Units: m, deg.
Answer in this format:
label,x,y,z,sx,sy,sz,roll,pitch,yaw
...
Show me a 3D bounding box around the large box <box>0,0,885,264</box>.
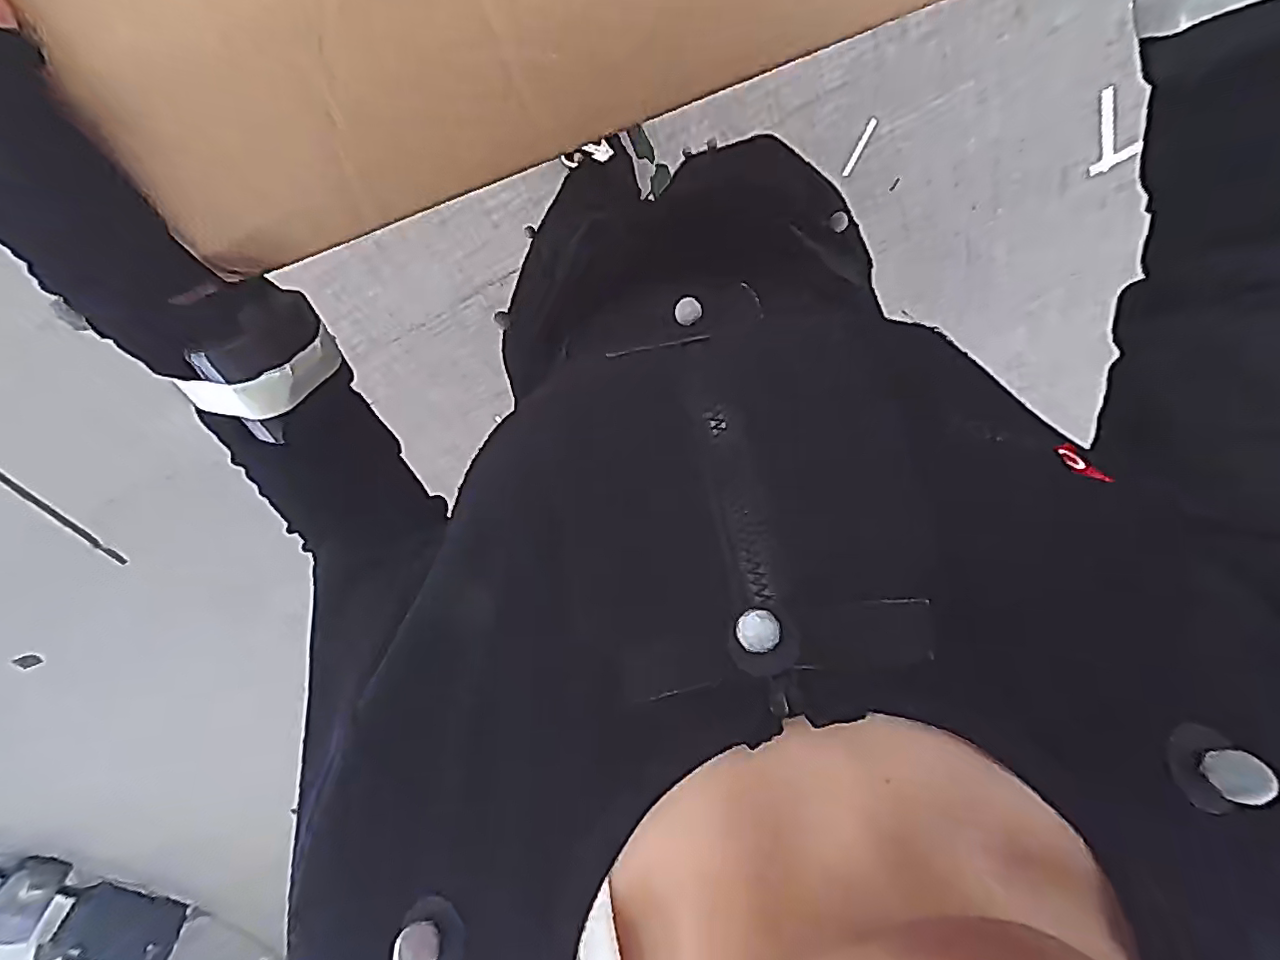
label,x,y,z,sx,sy,sz,roll,pitch,yaw
large box,-0.069,-0.362,0.202,0.408,0.320,0.320,-16,142,9
